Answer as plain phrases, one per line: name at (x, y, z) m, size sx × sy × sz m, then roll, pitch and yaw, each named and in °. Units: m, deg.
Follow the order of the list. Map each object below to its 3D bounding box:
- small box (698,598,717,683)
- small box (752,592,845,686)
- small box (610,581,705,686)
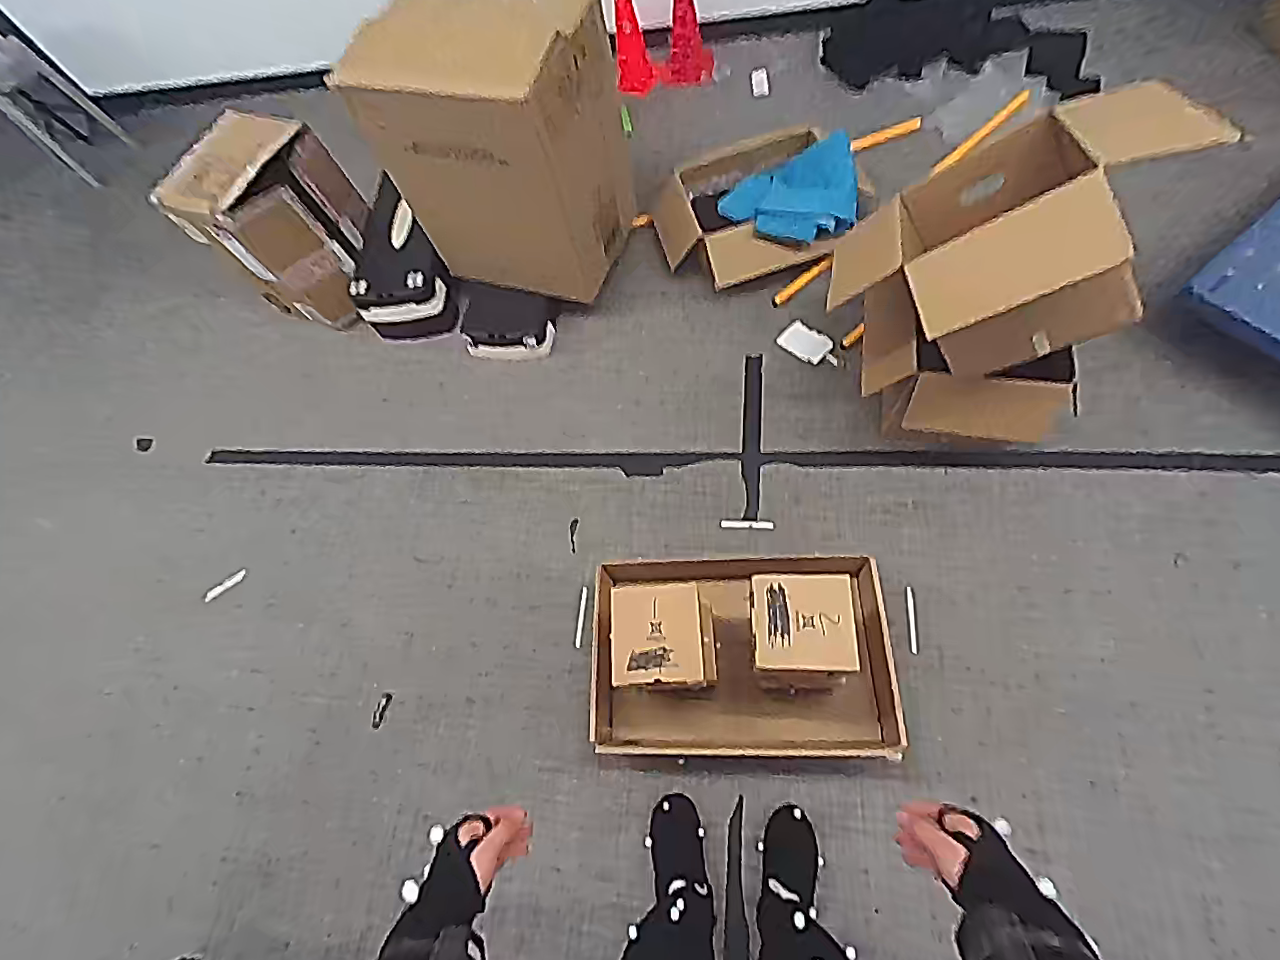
small box at (0.077, 0.362, 1.204) m, size 0.179 × 0.176 × 0.168 m, roll -4°, pitch 66°, yaw 6°
small box at (0.334, 0.348, 1.171) m, size 0.168 × 0.176 × 0.179 m, roll -4°, pitch 67°, yaw 9°
small box at (0.037, 0.305, 1.053) m, size 0.168 × 0.176 × 0.179 m, roll -5°, pitch 65°, yaw 6°
